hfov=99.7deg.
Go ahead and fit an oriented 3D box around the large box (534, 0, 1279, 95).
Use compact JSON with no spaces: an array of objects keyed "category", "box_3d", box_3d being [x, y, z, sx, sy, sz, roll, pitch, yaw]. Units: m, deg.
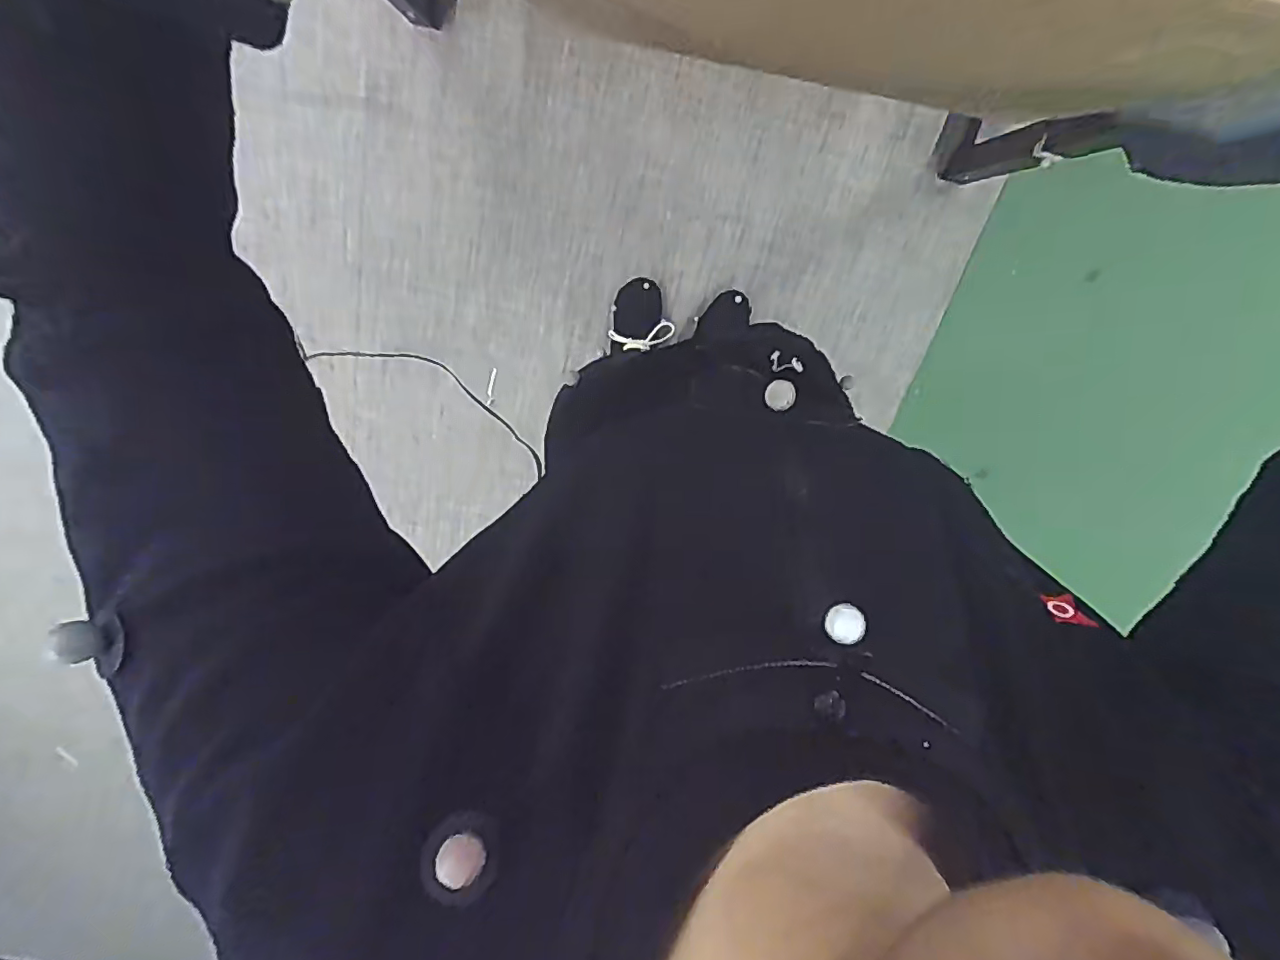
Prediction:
[{"category":"large box","box_3d":[0.128,-0.401,0.236,0.408,0.320,0.320,9,120,-1]}]
